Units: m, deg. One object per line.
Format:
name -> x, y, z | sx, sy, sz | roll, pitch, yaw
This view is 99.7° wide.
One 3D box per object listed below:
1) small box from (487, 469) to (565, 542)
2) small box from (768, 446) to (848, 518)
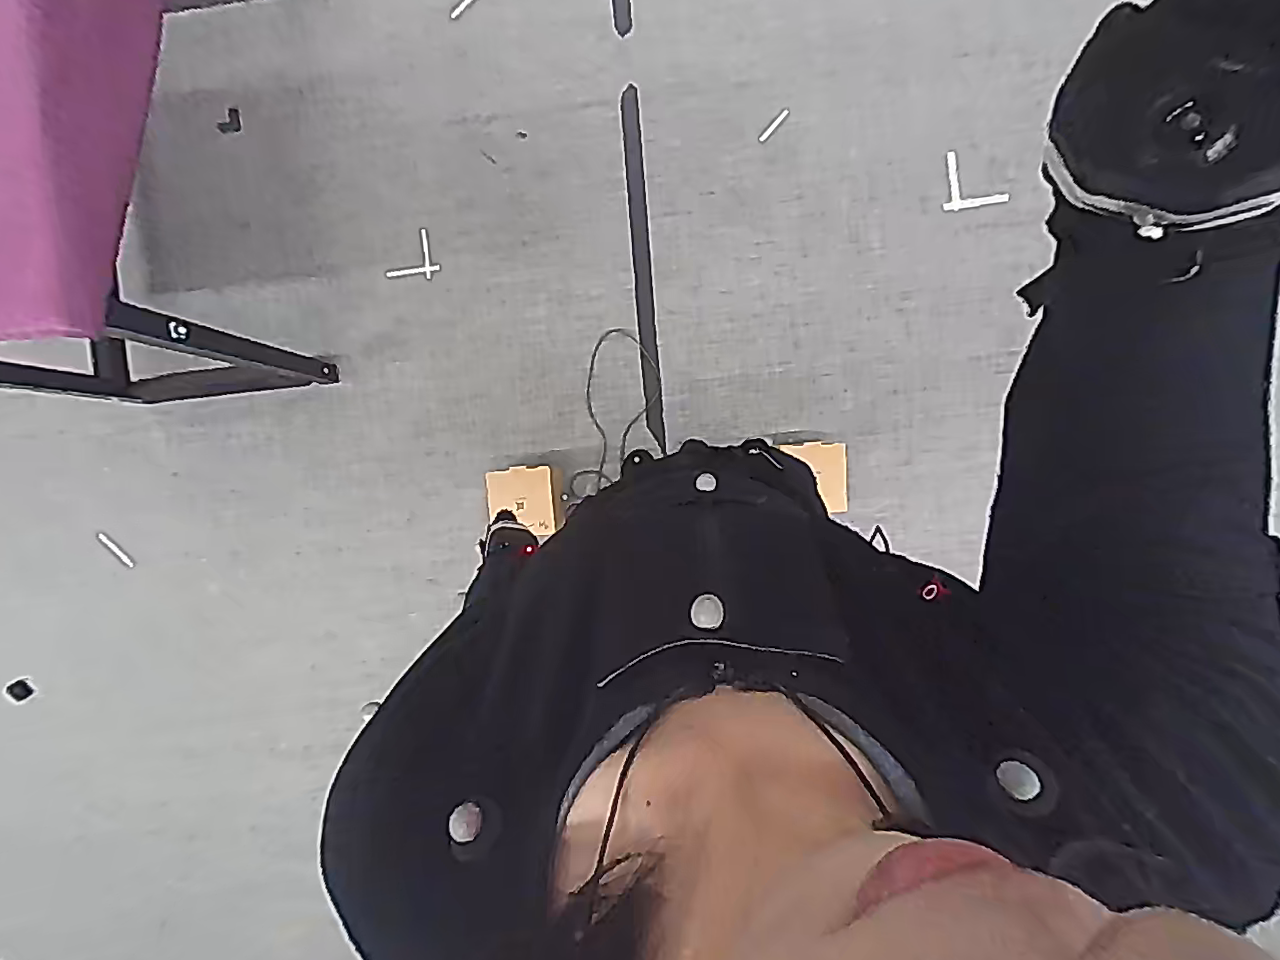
small box -> -0.298, 0.066, 1.436 | 0.168, 0.176, 0.179 | -5, 89, 2
small box -> 0.433, 0.003, 1.416 | 0.168, 0.176, 0.179 | -3, 93, 3
